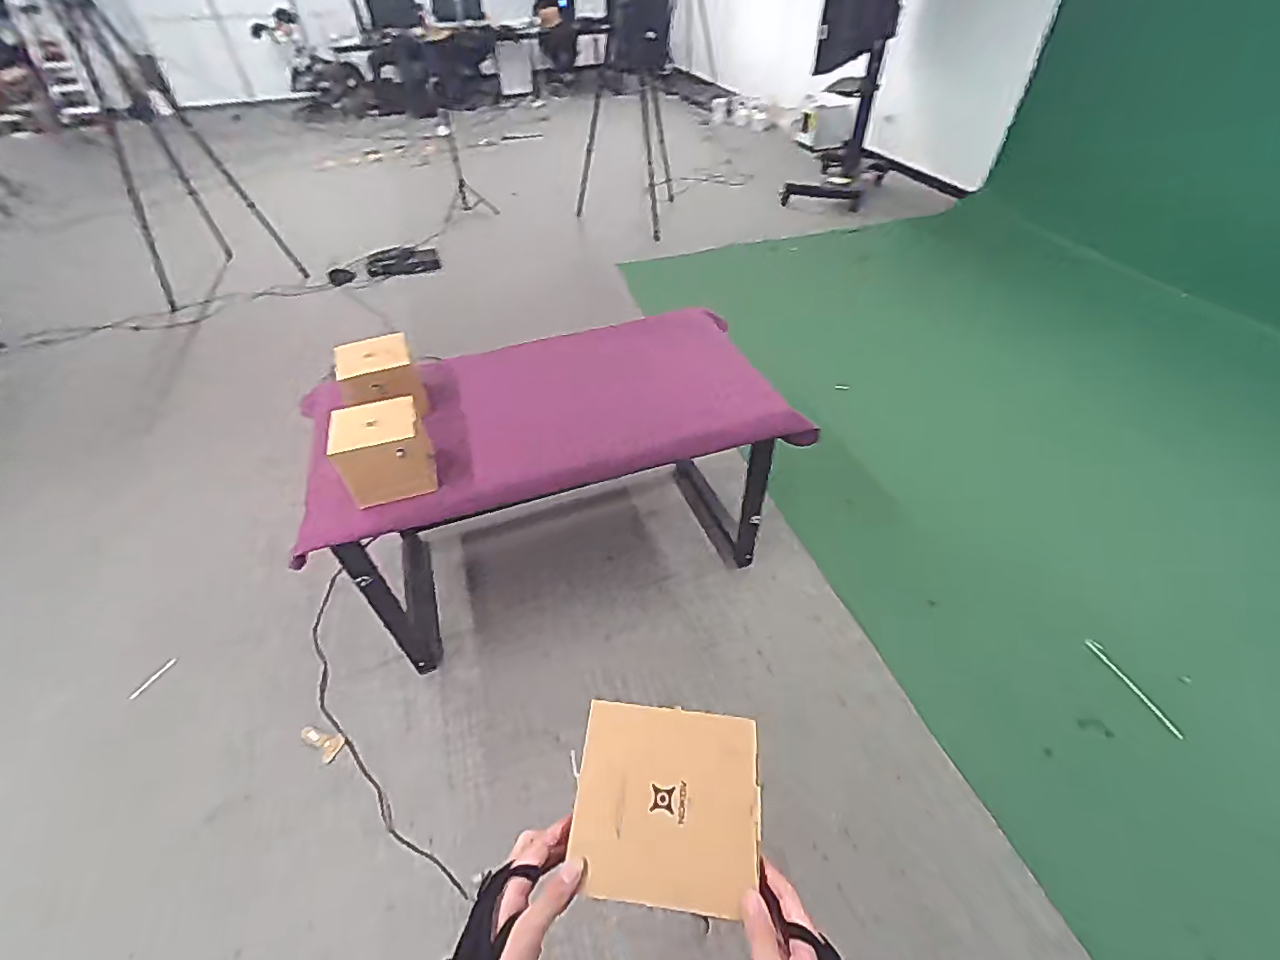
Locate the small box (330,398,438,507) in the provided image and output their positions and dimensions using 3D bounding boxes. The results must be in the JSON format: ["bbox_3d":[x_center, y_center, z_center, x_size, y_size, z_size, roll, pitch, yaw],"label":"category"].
[{"bbox_3d":[-0.579,-0.060,1.239,0.179,0.176,0.168,-14,45,-13],"label":"small box"}]

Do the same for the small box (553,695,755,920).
[{"bbox_3d":[0.022,0.345,0.573,0.179,0.176,0.168,5,53,6],"label":"small box"}]

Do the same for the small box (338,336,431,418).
[{"bbox_3d":[-0.674,-0.253,1.433,0.179,0.176,0.168,-17,48,-15],"label":"small box"}]
